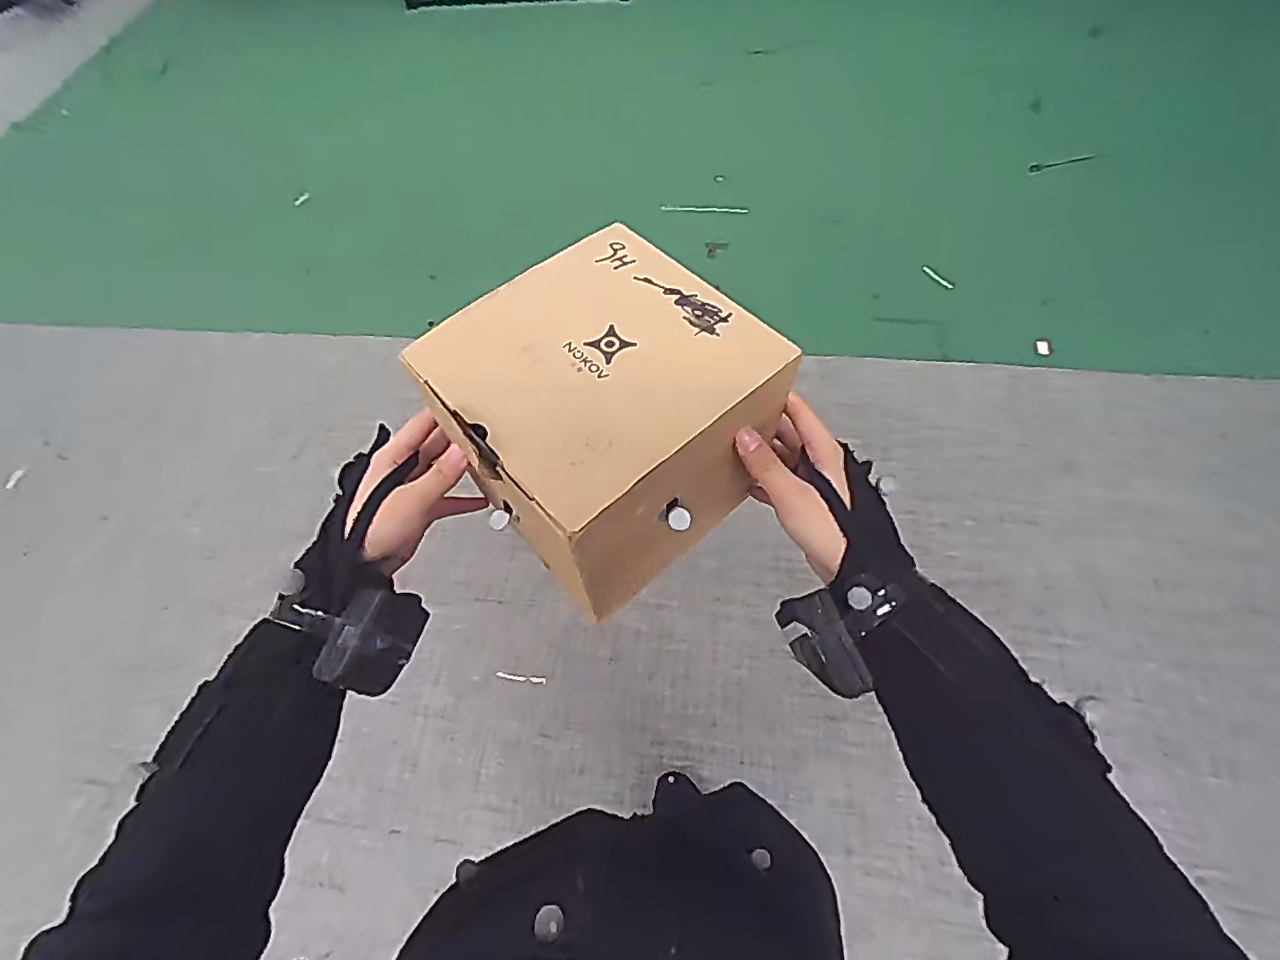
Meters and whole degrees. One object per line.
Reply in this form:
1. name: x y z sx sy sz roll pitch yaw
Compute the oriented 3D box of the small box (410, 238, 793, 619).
1. small box: -0.021 -0.028 0.391 0.179 0.176 0.168 -39 67 -17
